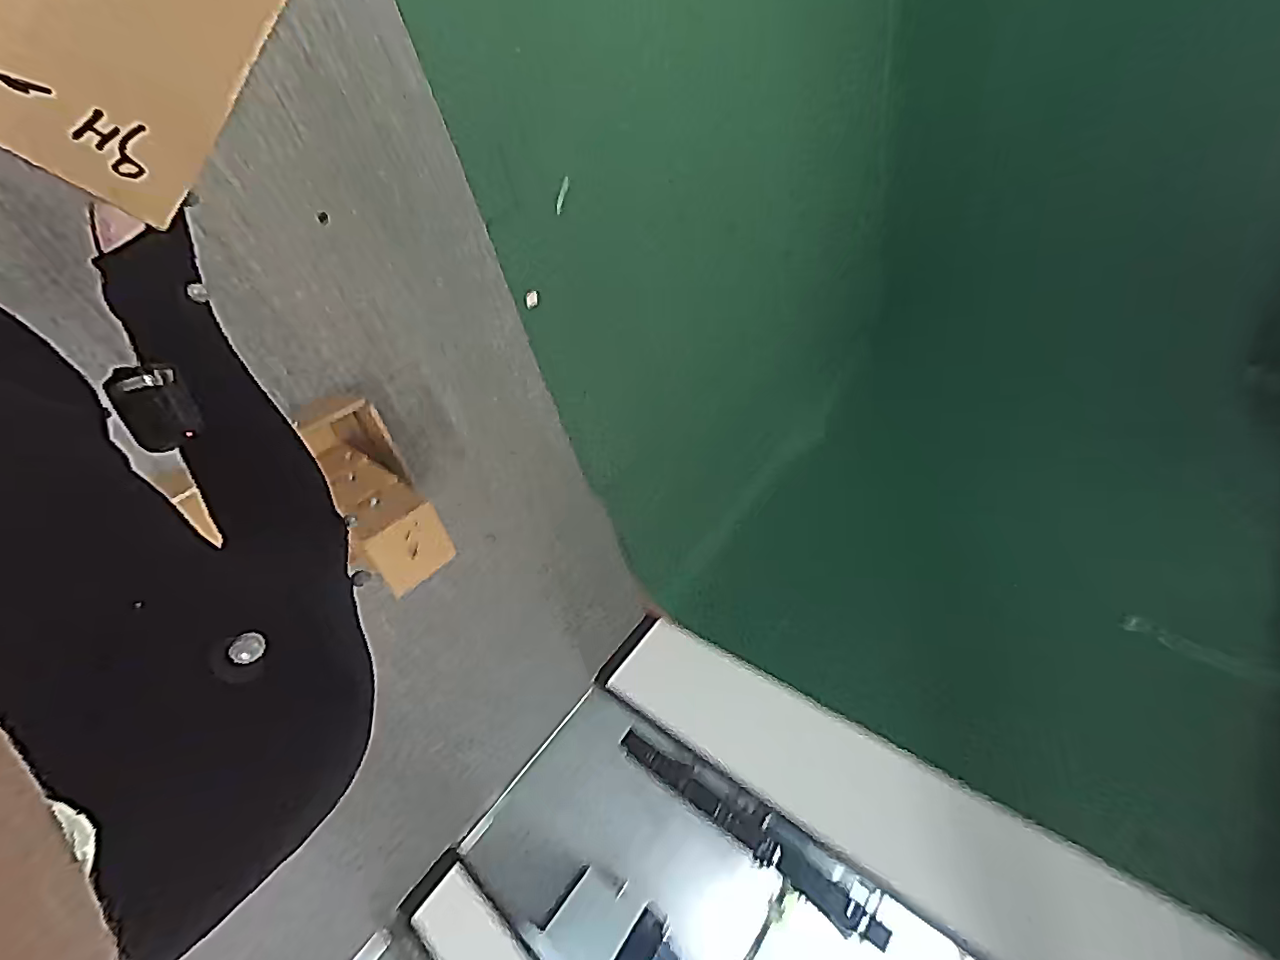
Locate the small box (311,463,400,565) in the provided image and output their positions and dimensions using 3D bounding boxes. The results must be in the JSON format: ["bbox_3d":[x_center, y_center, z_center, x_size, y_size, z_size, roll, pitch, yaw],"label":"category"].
[{"bbox_3d":[-0.694,0.083,1.378,0.168,0.176,0.179,-39,133,-32],"label":"small box"}]

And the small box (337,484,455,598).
[{"bbox_3d":[-0.575,0.138,1.278,0.168,0.176,0.179,-39,133,-32],"label":"small box"}]
